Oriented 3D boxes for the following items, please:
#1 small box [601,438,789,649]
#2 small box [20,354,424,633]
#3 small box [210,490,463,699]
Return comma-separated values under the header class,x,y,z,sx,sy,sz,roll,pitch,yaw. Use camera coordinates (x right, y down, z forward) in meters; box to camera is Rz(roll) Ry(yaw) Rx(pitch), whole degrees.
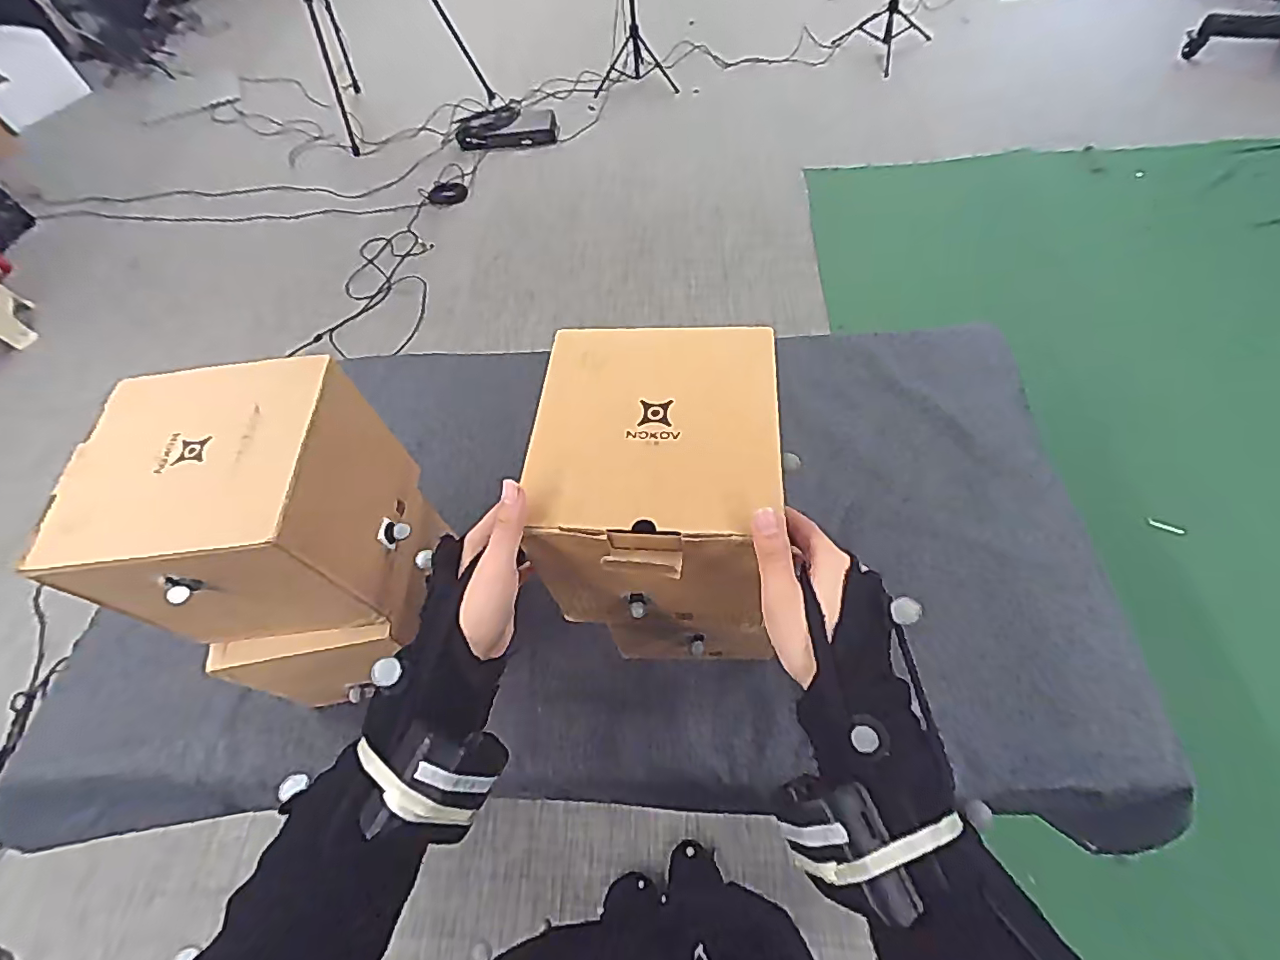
class,x,y,z,sx,sy,sz,roll,pitch,yaw
small box,0.057,0.075,0.575,0.168,0.176,0.179,-2,58,5
small box,-0.310,0.021,0.452,0.179,0.176,0.168,-6,58,2
small box,-0.300,0.119,0.582,0.168,0.176,0.179,-10,58,-1
